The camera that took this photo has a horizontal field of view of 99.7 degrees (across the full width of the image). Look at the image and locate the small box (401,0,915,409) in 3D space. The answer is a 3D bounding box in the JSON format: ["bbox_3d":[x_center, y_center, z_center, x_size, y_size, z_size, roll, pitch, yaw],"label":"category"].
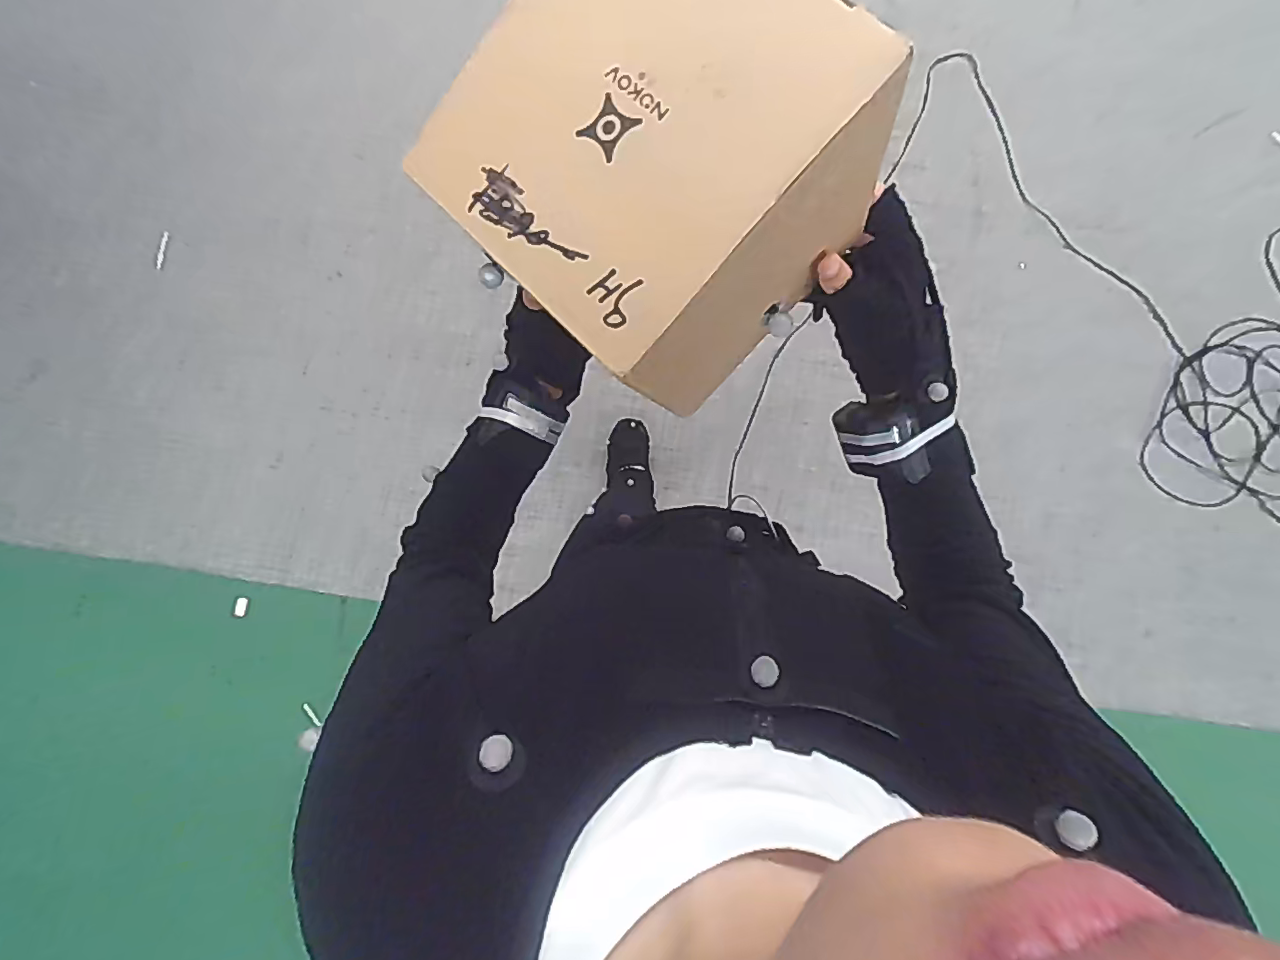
[{"bbox_3d":[0.014,-0.164,0.314,0.168,0.176,0.179,45,100,11],"label":"small box"}]
